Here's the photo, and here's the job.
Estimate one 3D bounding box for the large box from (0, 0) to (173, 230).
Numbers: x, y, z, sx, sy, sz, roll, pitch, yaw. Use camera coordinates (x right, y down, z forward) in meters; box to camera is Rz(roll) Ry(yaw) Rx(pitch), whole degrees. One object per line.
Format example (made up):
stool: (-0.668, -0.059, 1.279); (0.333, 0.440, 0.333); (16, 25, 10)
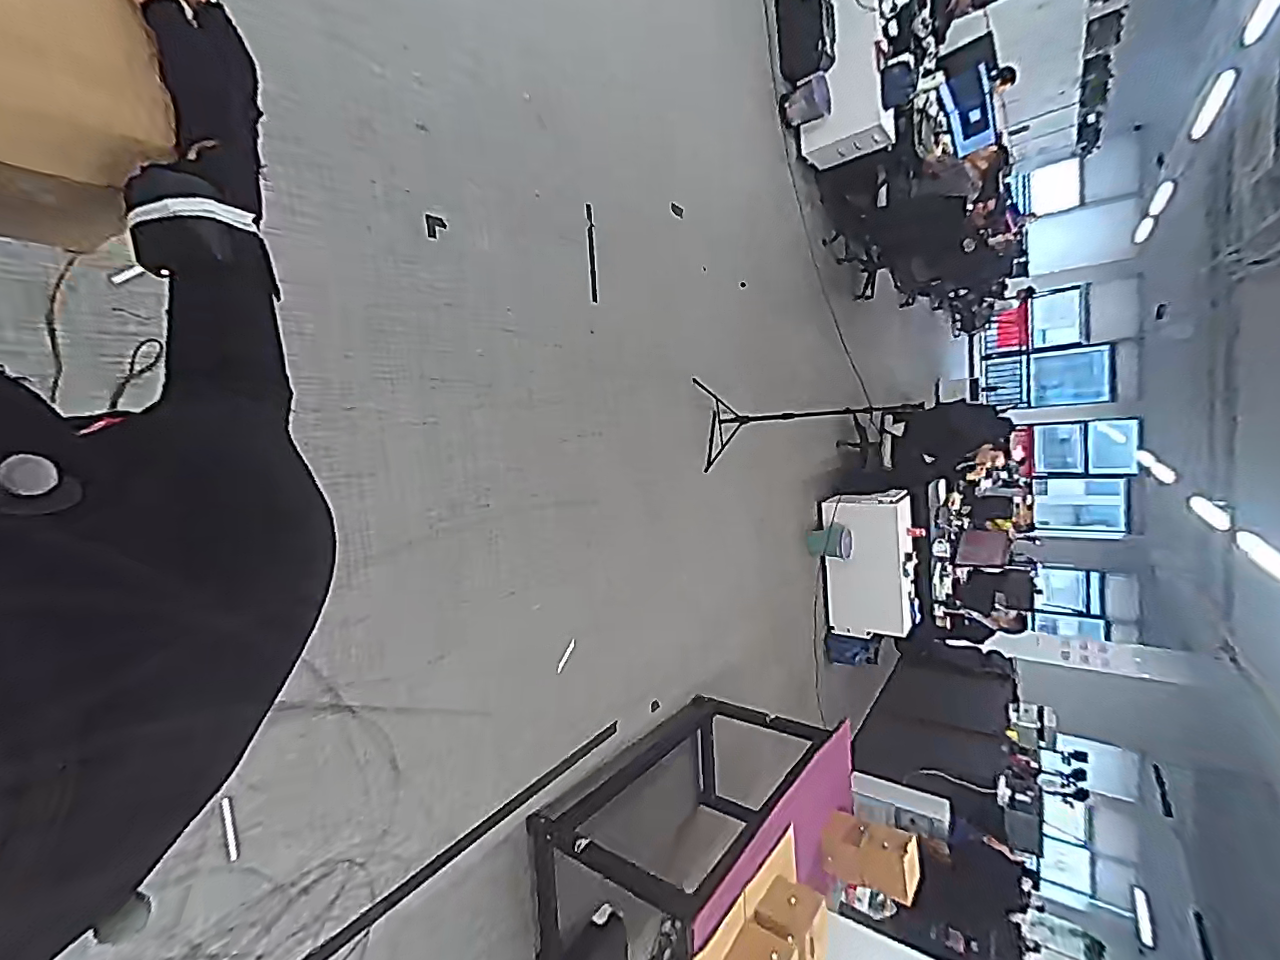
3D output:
large box: (-0.596, -0.375, 0.322); (0.408, 0.320, 0.320); (-10, 107, -55)
